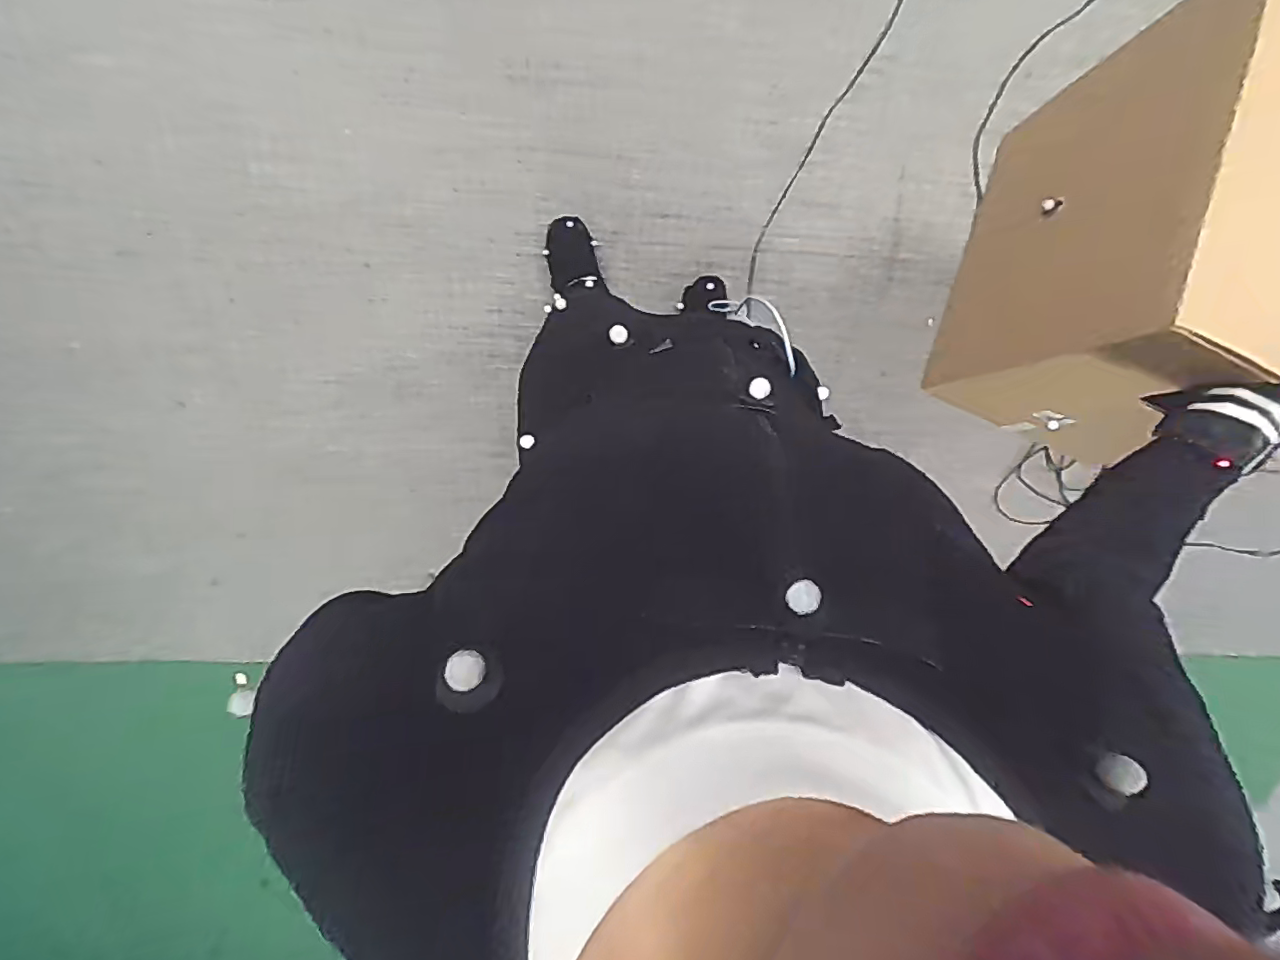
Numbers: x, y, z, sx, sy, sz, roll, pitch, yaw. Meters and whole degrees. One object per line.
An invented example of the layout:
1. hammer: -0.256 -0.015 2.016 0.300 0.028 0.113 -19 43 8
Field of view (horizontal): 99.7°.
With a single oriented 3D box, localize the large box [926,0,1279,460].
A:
1. large box: 0.626 -0.263 0.657 0.320 0.320 0.408 20 86 -11
